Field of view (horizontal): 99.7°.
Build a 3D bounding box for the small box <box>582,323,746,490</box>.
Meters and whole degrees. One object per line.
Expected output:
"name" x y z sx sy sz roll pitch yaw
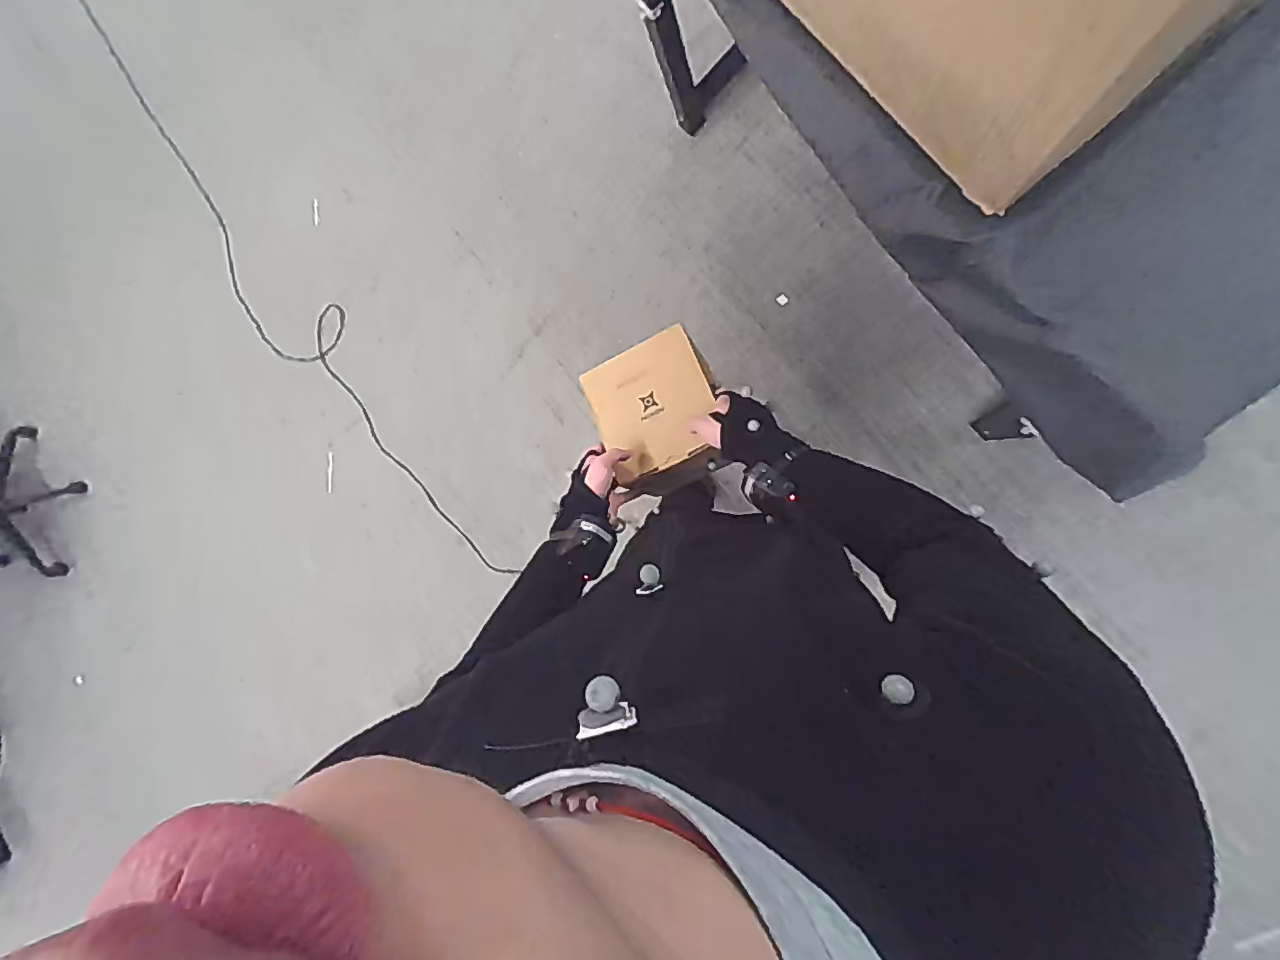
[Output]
"small box" 0.044 -0.094 0.807 0.168 0.176 0.179 -26 74 14
